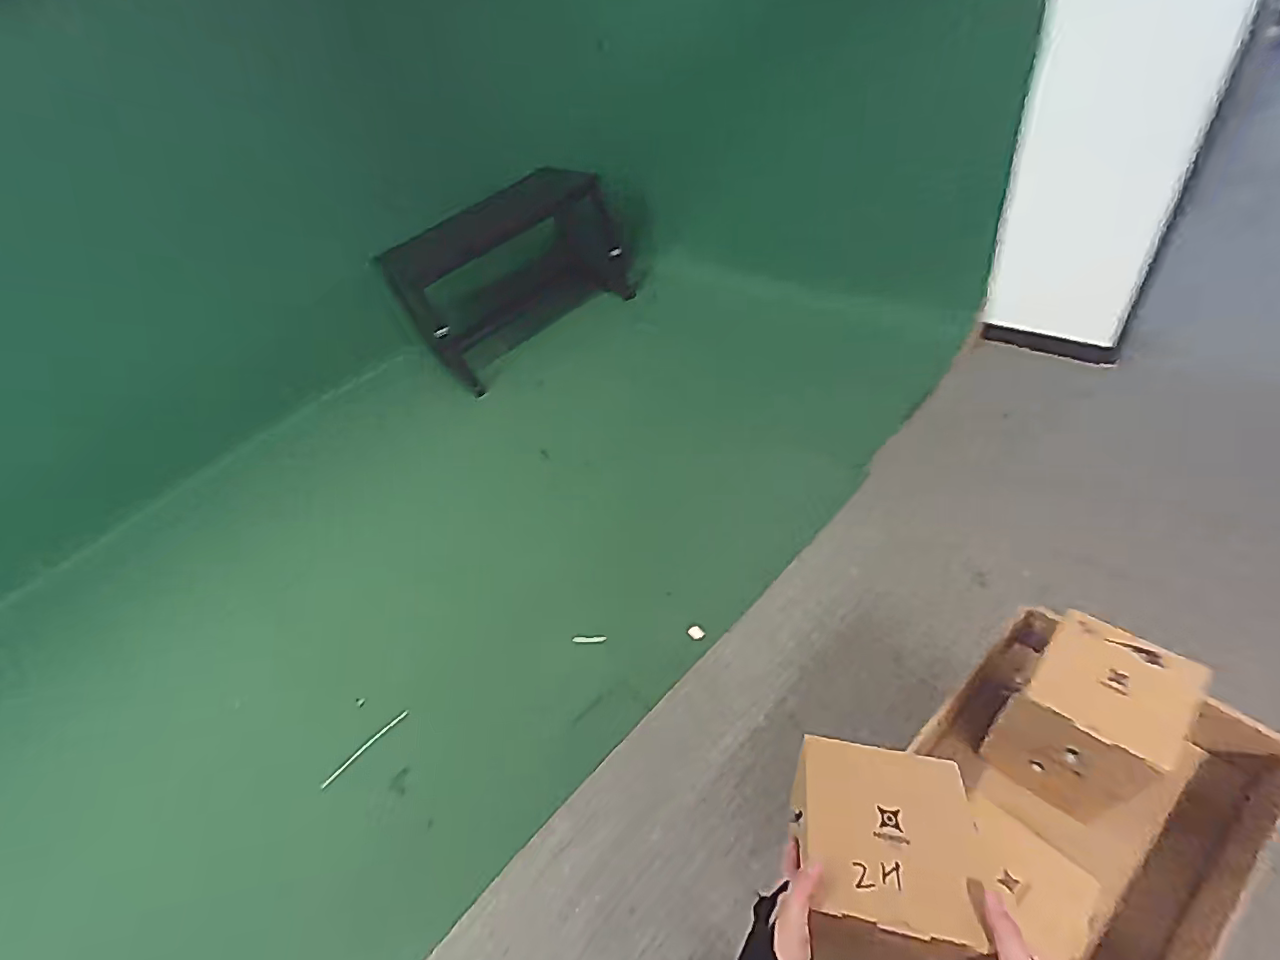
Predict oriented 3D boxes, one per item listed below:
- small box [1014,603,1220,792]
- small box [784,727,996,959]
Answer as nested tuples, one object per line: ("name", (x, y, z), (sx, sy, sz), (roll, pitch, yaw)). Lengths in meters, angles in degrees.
("small box", (0.691, 0.326, 0.806), (0.168, 0.176, 0.179), (30, 65, 38))
("small box", (0.249, 0.410, 0.590), (0.168, 0.176, 0.179), (5, 35, 13))
